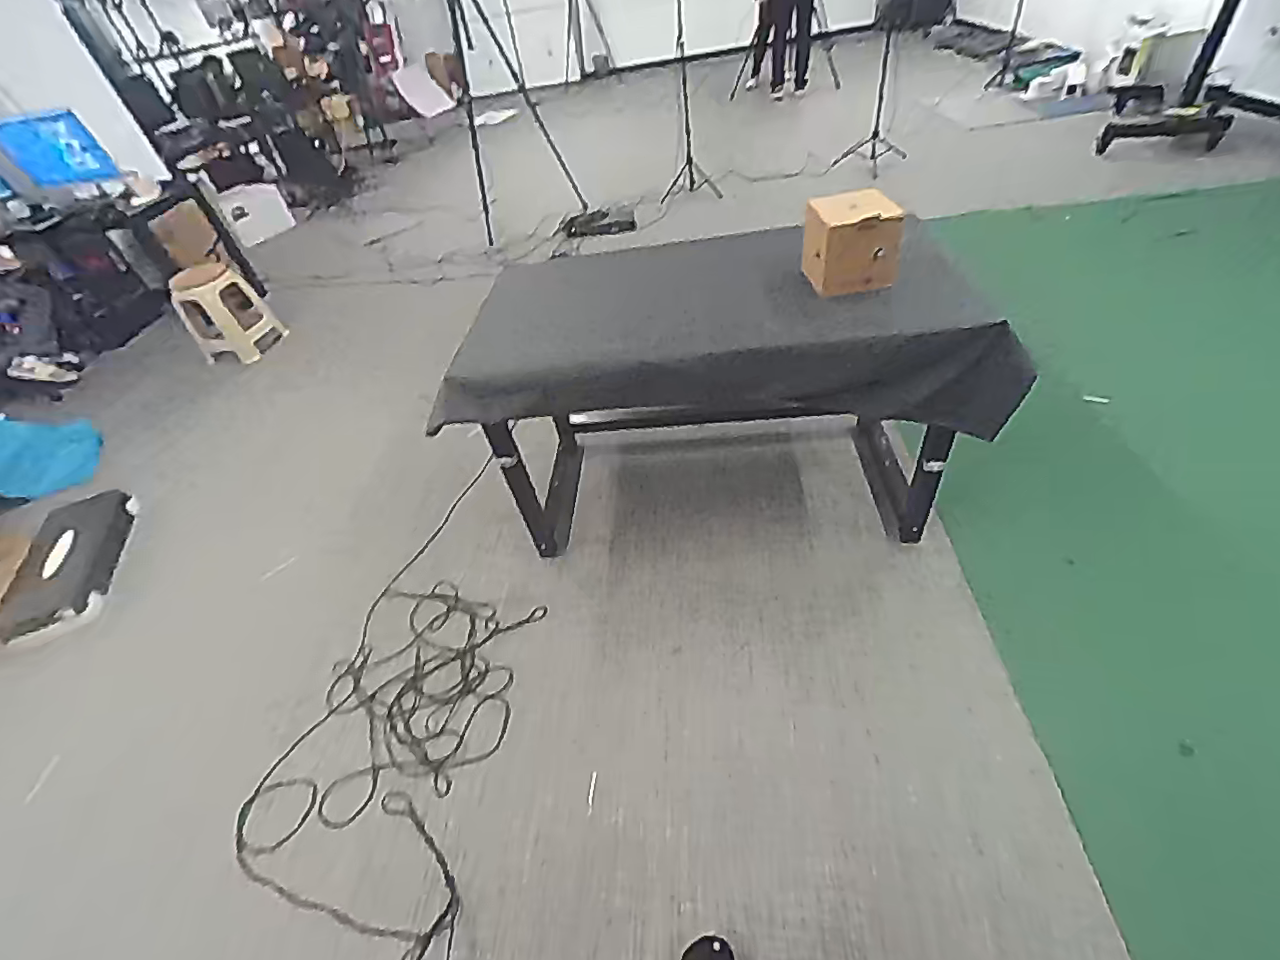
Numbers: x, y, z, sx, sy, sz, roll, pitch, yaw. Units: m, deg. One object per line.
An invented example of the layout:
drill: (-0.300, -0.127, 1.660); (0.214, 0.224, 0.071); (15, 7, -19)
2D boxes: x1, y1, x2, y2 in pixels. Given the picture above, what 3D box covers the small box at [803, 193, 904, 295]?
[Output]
small box: (0.488, -0.543, 1.261); (0.168, 0.176, 0.179); (-8, 42, 2)
